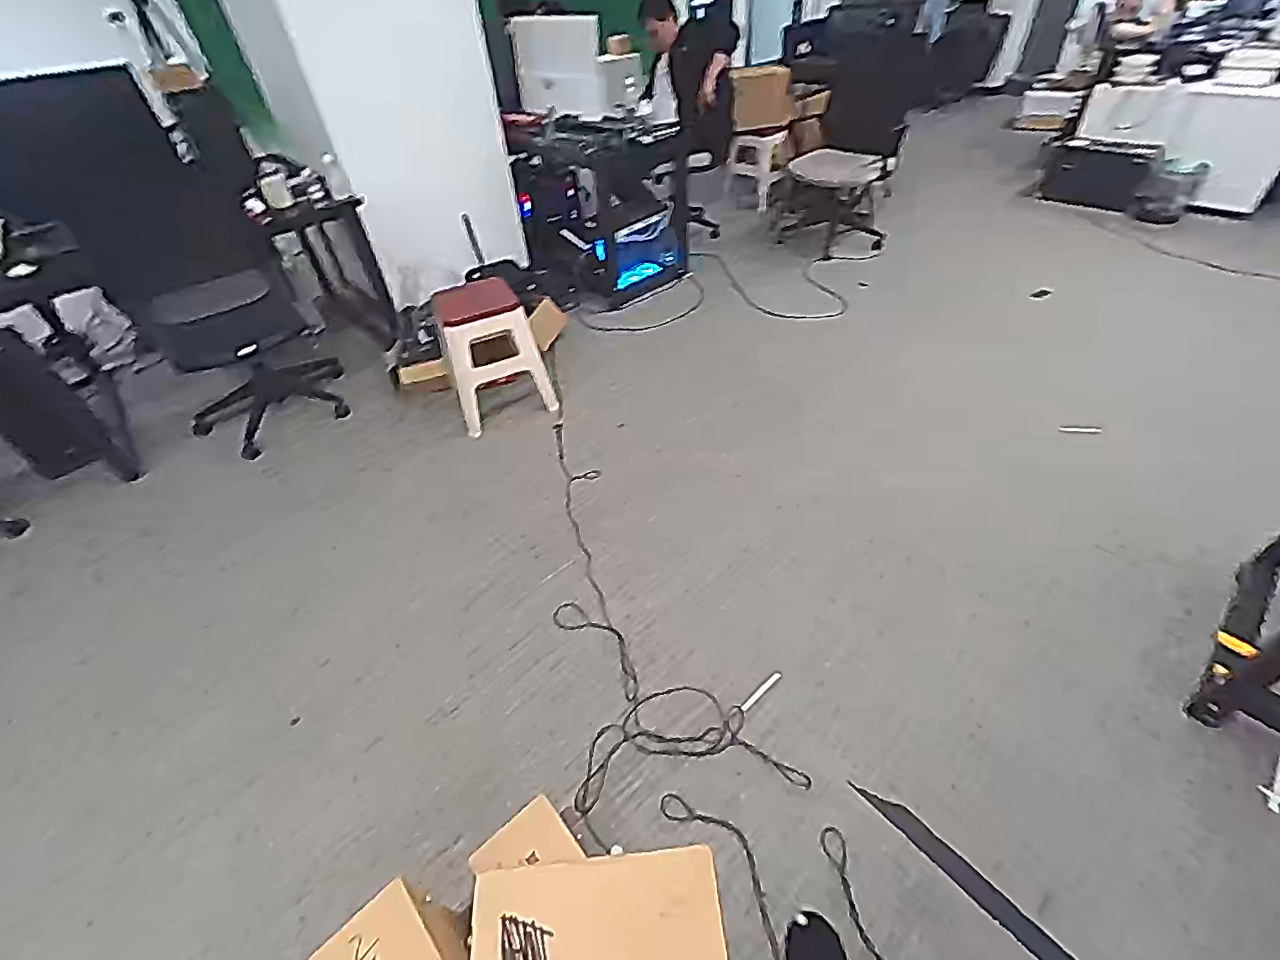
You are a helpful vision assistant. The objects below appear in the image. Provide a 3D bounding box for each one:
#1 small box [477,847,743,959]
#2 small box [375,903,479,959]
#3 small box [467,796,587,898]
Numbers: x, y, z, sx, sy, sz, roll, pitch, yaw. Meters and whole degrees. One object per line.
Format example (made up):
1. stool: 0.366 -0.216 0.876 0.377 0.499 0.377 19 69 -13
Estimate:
1. small box: -0.010 0.382 0.390 0.179 0.176 0.168 -7 49 2
2. small box: -0.359 0.887 0.928 0.179 0.176 0.168 30 54 31
3. small box: -0.198 0.759 1.039 0.179 0.176 0.168 -33 49 -25
